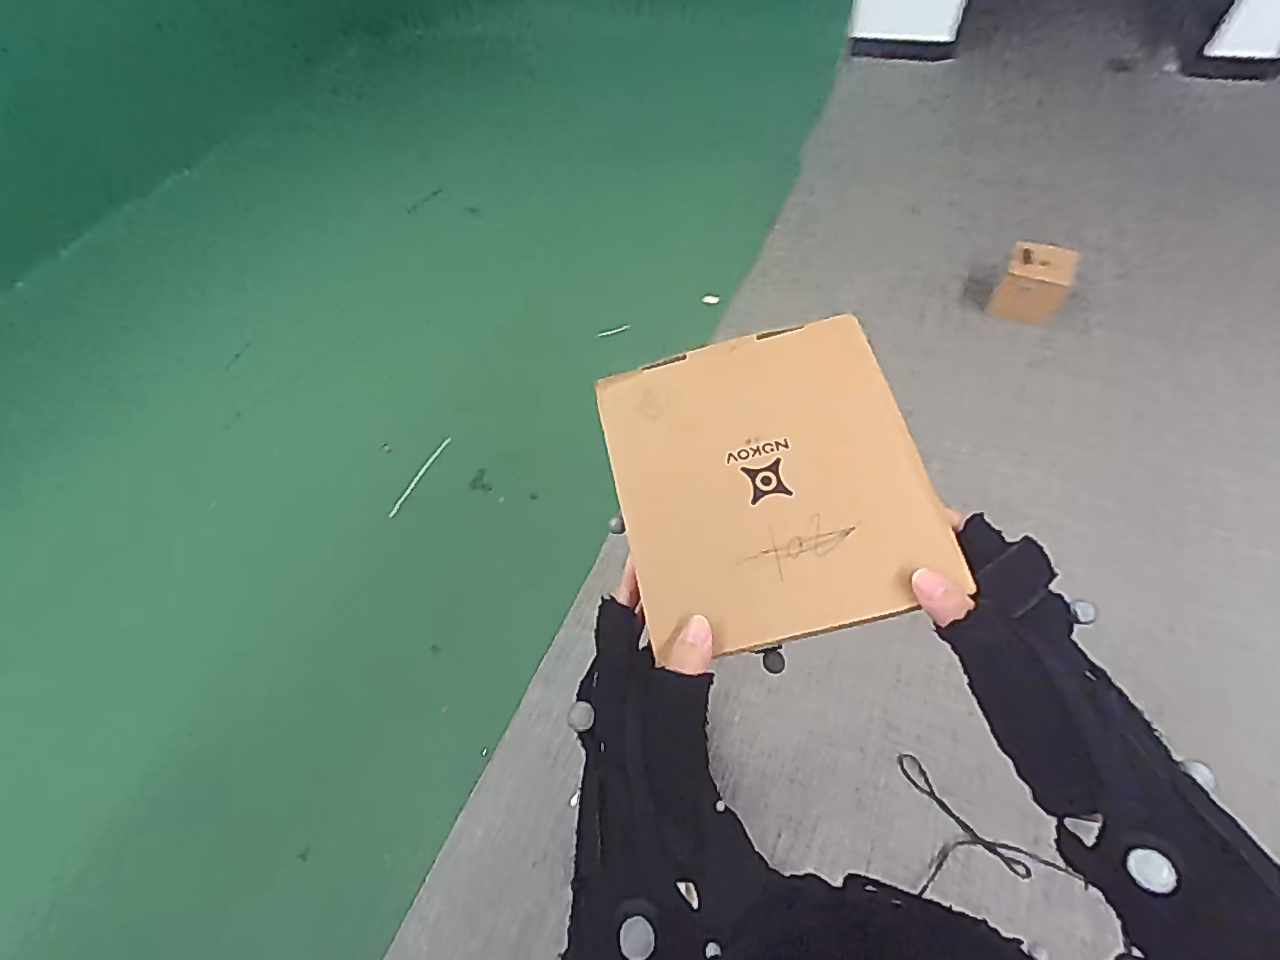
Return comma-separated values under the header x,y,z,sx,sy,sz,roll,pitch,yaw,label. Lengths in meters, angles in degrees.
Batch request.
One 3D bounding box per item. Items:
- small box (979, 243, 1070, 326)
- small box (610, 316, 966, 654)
x,y,z,sx,sy,sz,roll,pitch,yaw,label
1.222,-0.621,1.730,0.179,0.176,0.168,22,65,19,small box
0.084,0.019,0.387,0.168,0.176,0.179,-14,70,3,small box
